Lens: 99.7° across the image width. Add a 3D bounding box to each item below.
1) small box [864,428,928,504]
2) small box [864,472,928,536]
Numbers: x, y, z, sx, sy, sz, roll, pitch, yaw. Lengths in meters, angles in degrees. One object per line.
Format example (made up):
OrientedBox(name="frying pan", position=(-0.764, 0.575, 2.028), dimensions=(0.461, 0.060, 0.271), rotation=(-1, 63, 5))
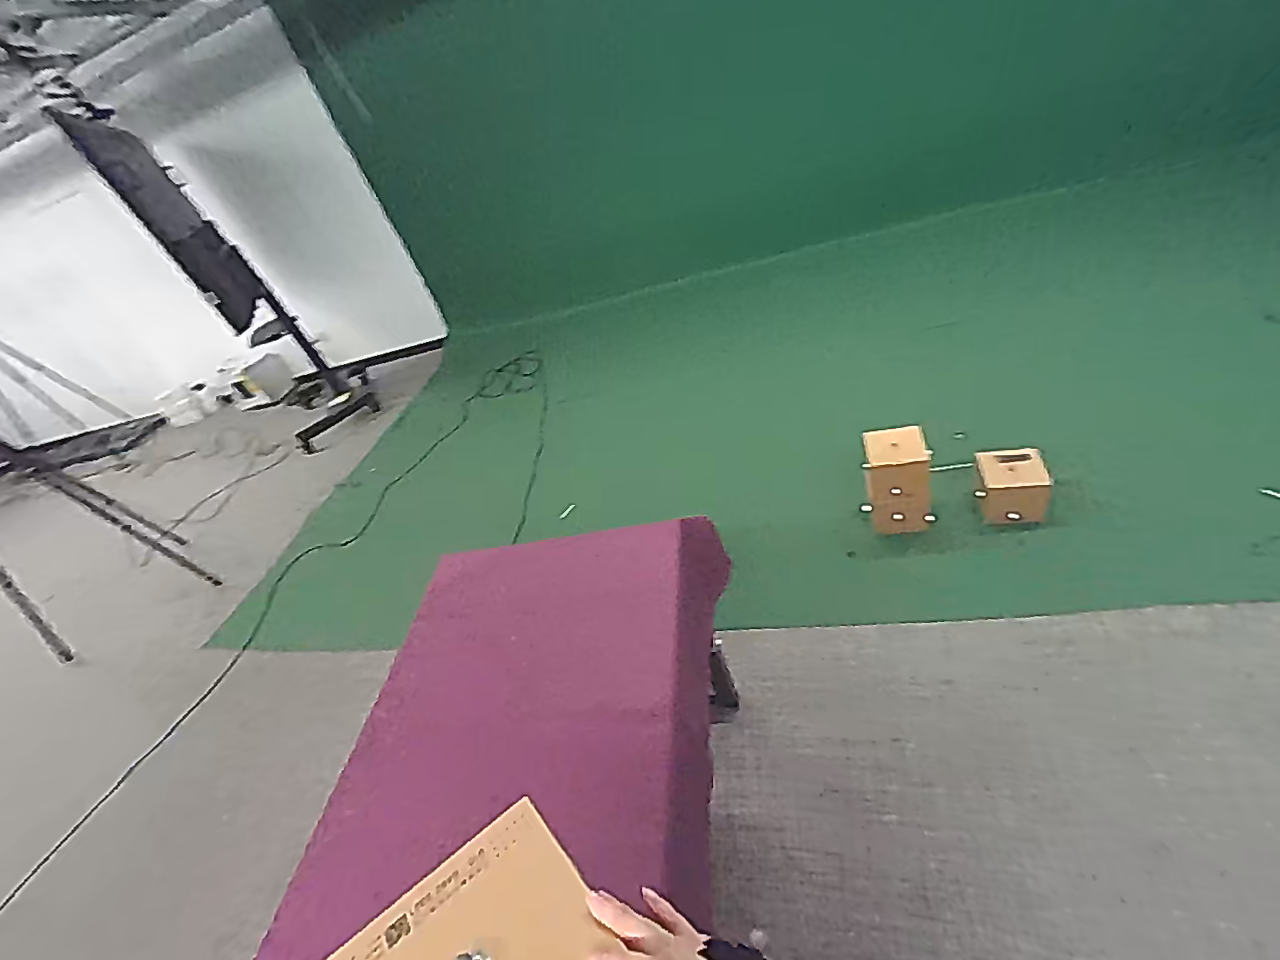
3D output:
OrientedBox(name="small box", position=(0.831, -0.044, 1.763), dimensions=(0.168, 0.176, 0.179), rotation=(-8, 40, 20))
OrientedBox(name="small box", position=(0.881, 0.074, 1.864), dimensions=(0.179, 0.176, 0.168), rotation=(-9, 39, 20))
